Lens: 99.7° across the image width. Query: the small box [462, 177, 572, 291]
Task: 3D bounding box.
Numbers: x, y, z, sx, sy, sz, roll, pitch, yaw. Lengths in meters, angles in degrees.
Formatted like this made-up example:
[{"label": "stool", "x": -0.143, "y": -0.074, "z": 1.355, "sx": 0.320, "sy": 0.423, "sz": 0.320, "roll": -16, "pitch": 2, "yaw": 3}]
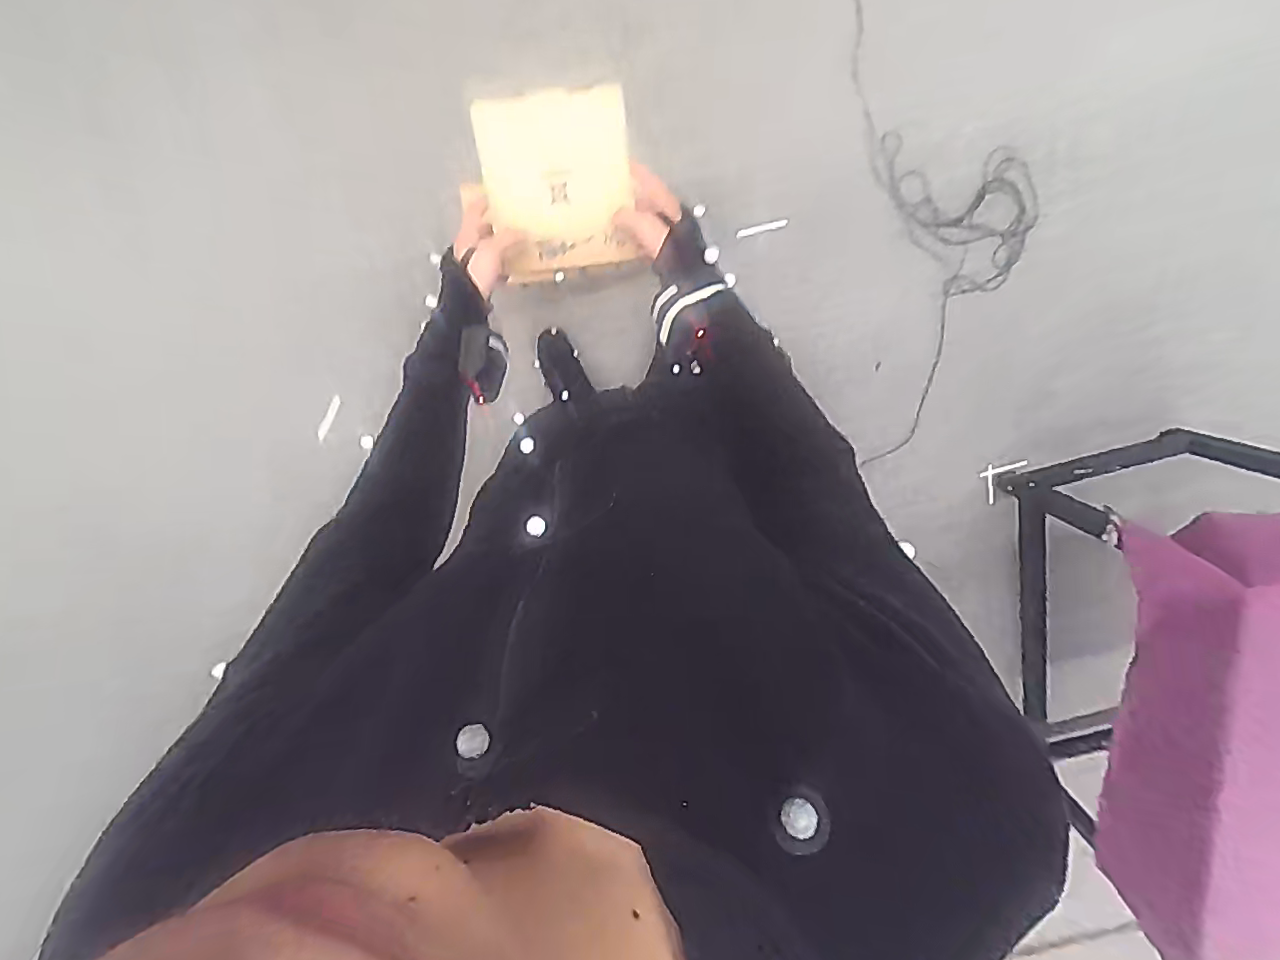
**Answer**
[{"label": "small box", "x": -0.230, "y": -0.470, "z": 1.056, "sx": 0.168, "sy": 0.176, "sz": 0.179, "roll": -6, "pitch": 109, "yaw": 1}]
